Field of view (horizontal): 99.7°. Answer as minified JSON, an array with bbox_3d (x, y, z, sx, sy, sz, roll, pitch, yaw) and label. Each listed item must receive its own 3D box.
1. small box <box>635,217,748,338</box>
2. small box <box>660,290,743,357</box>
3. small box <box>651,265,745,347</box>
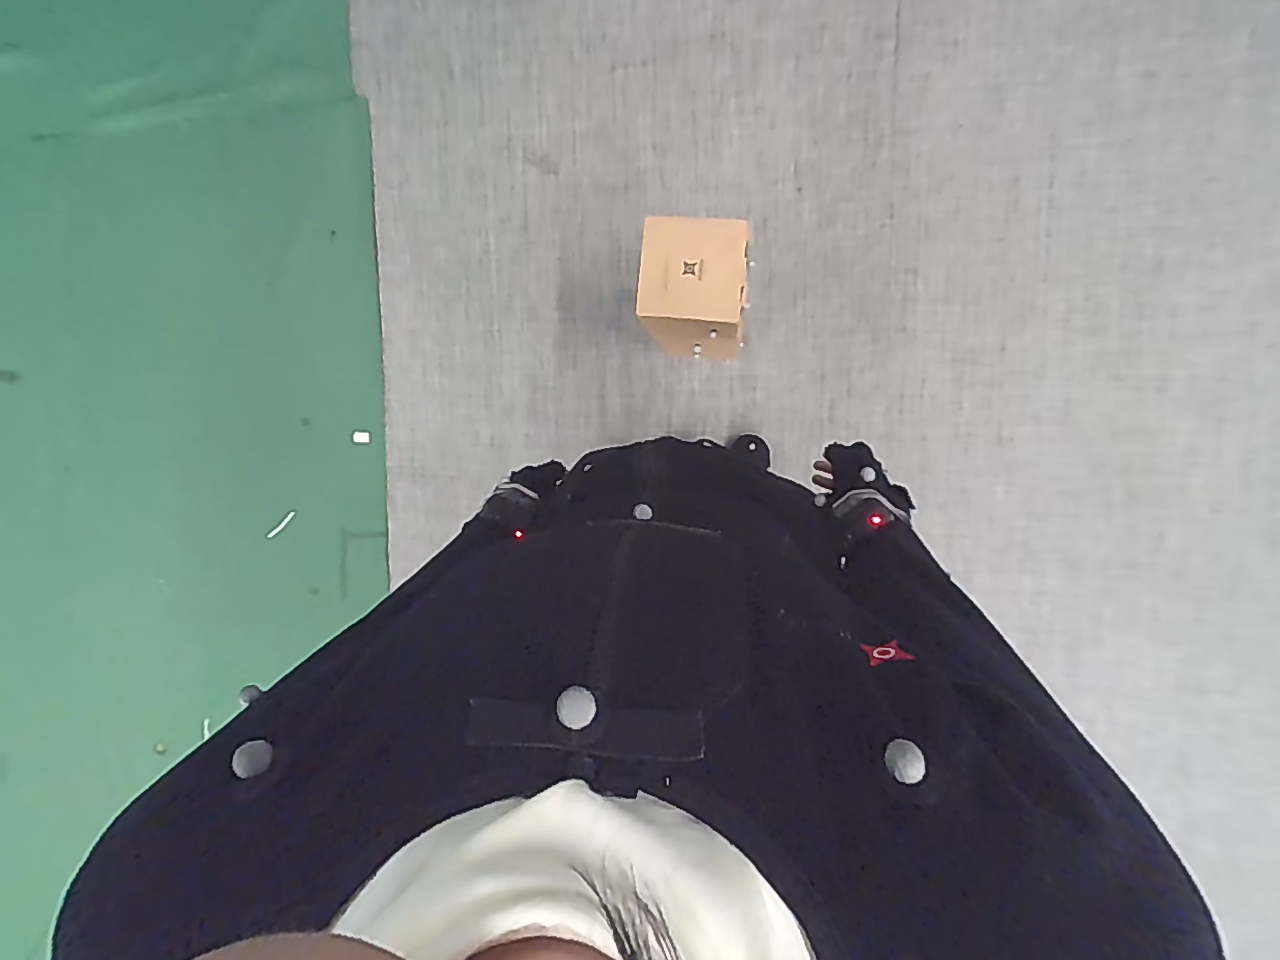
[{"bbox_3d":[0.096,-0.356,0.975,0.179,0.176,0.168,6,95,10],"label":"small box"},{"bbox_3d":[0.150,-0.391,1.294,0.179,0.176,0.168,6,96,10],"label":"small box"},{"bbox_3d":[0.124,-0.374,1.136,0.179,0.176,0.168,4,97,10],"label":"small box"}]
